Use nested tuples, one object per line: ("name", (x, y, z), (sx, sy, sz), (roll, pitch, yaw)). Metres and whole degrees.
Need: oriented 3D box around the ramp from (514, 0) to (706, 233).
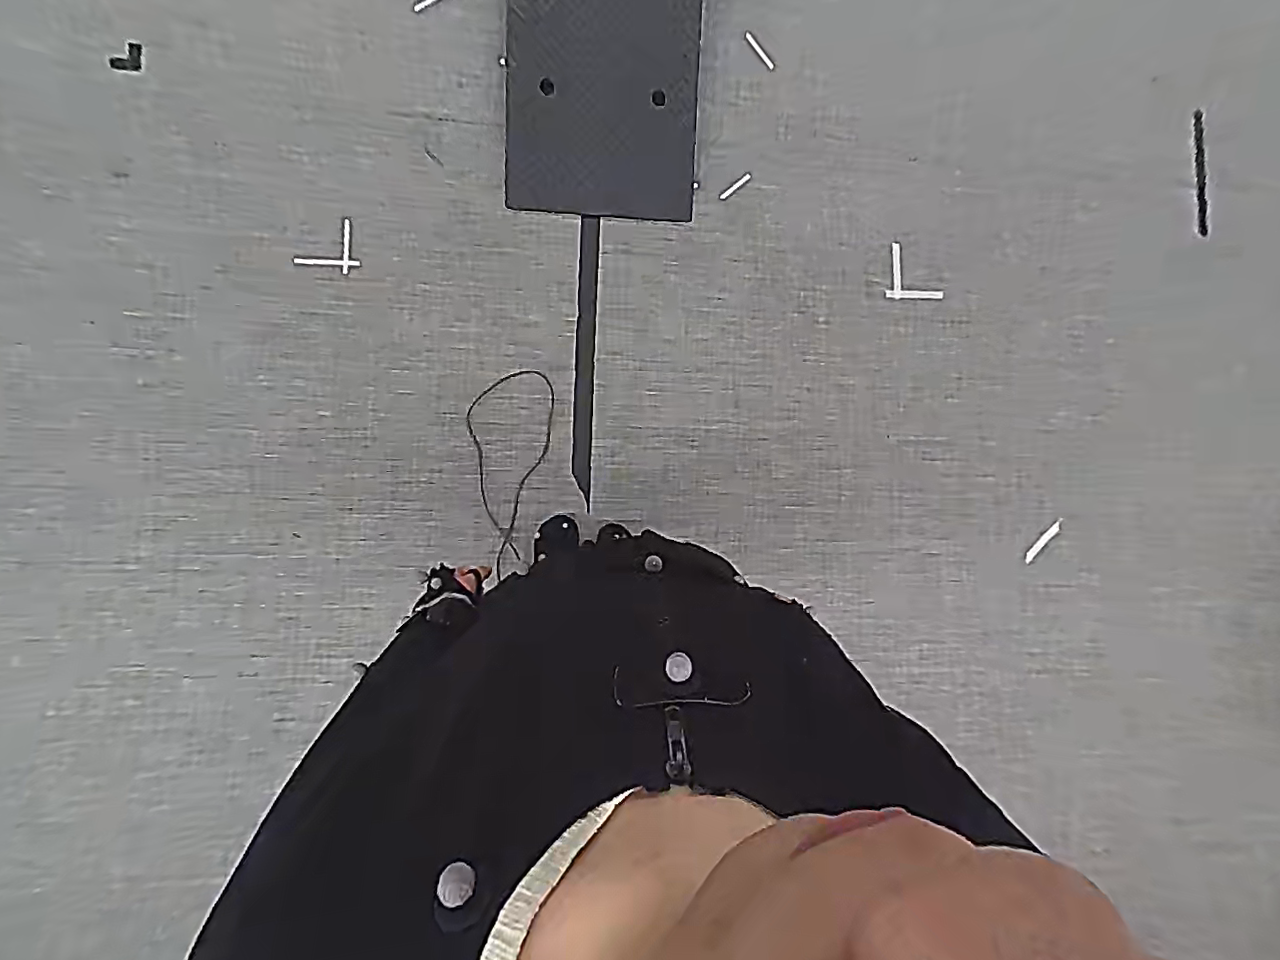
("ramp", (-0.073, -1.164, 1.380), (0.509, 0.206, 0.991), (-1, 87, -7))
